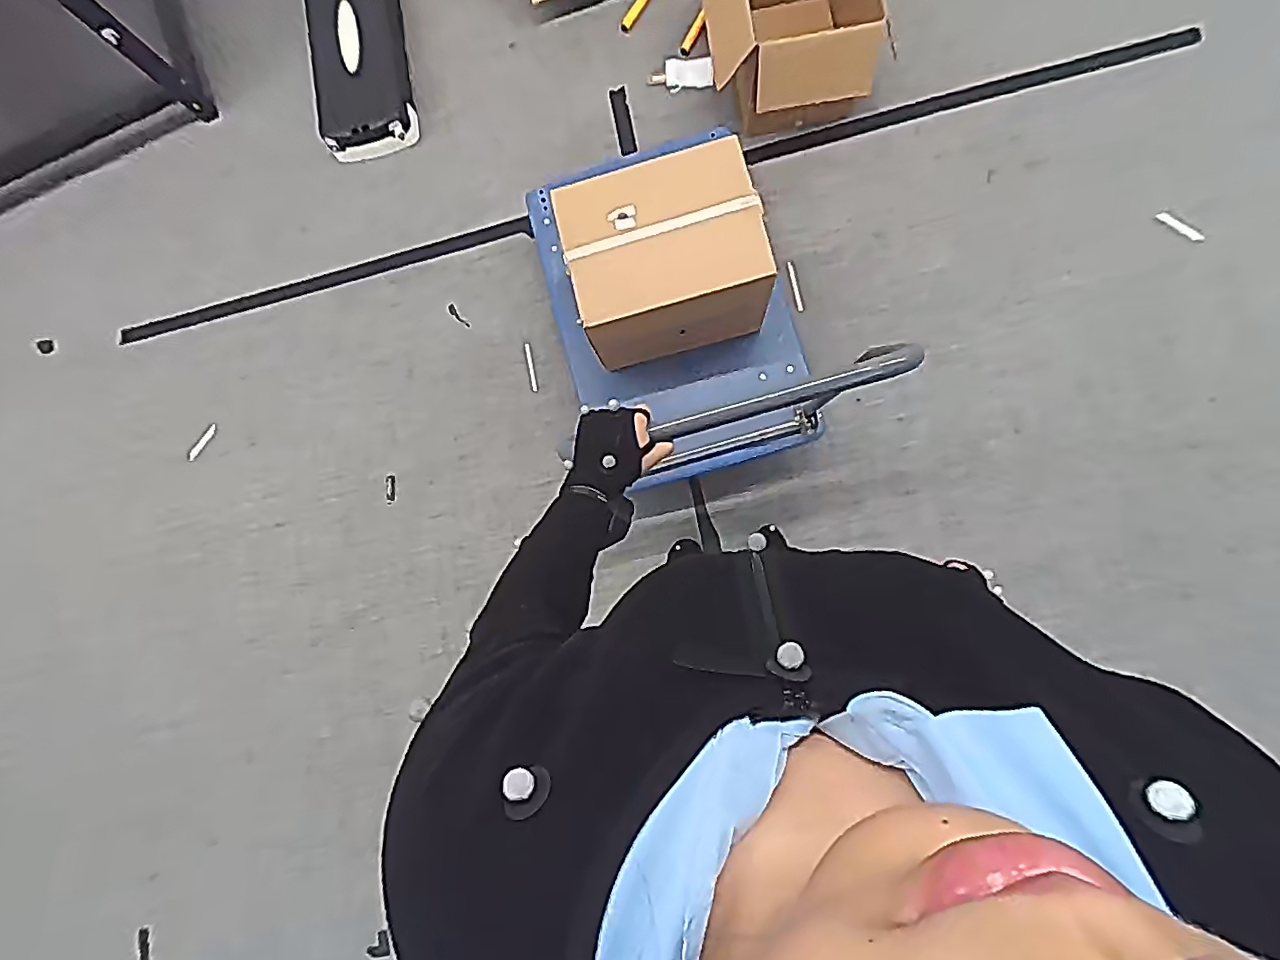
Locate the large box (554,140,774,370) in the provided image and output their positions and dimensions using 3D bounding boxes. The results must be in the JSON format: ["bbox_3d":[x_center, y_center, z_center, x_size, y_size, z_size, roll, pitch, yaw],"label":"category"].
[{"bbox_3d":[0.061,-0.491,1.262,0.408,0.320,0.320,-15,82,6],"label":"large box"}]
